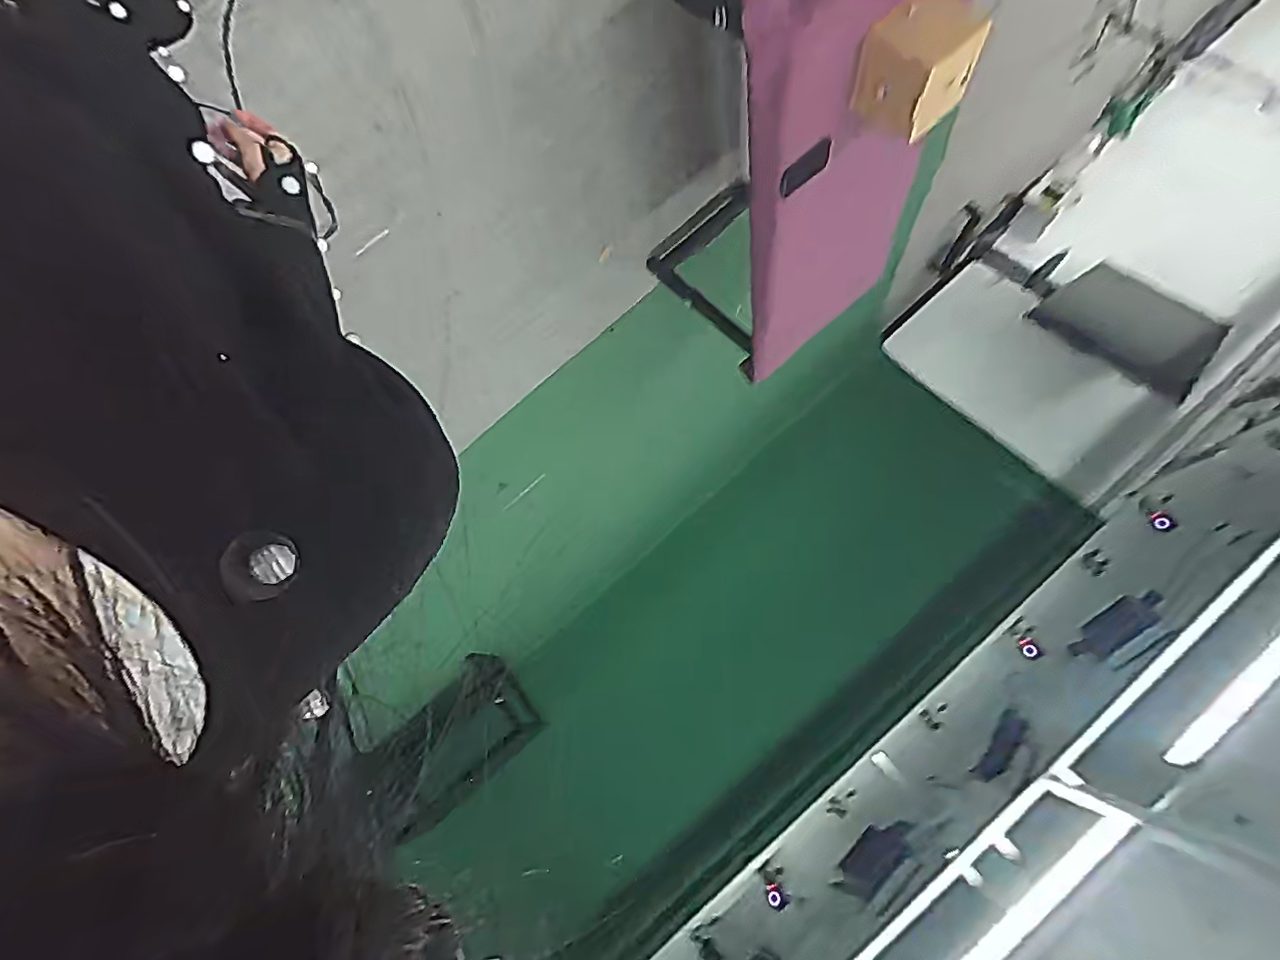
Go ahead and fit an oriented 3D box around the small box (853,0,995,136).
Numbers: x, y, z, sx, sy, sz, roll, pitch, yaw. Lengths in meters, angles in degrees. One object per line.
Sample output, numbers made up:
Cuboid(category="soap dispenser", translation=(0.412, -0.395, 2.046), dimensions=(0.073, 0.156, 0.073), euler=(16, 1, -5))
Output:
Cuboid(category="small box", translation=(0.578, -0.876, 1.129), dimensions=(0.179, 0.176, 0.168), euler=(-40, 159, -6))
